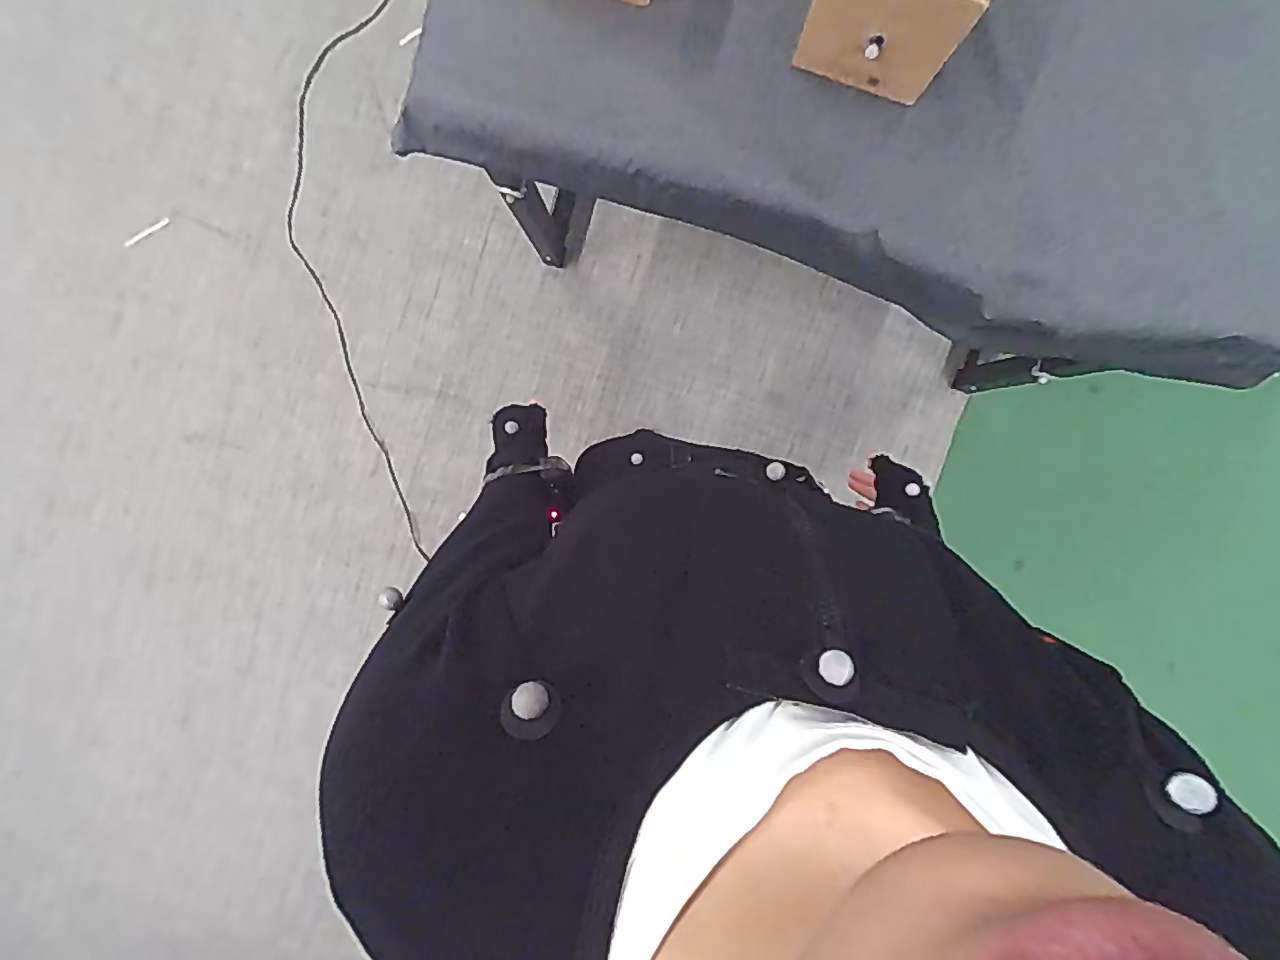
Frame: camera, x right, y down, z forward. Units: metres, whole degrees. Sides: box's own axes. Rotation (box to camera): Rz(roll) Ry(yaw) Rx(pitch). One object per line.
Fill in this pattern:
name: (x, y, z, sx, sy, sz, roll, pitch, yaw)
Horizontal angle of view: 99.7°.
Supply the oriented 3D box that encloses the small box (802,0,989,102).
small box: (0.300, -0.580, 0.613, 0.168, 0.176, 0.179, 19, 95, 1)
